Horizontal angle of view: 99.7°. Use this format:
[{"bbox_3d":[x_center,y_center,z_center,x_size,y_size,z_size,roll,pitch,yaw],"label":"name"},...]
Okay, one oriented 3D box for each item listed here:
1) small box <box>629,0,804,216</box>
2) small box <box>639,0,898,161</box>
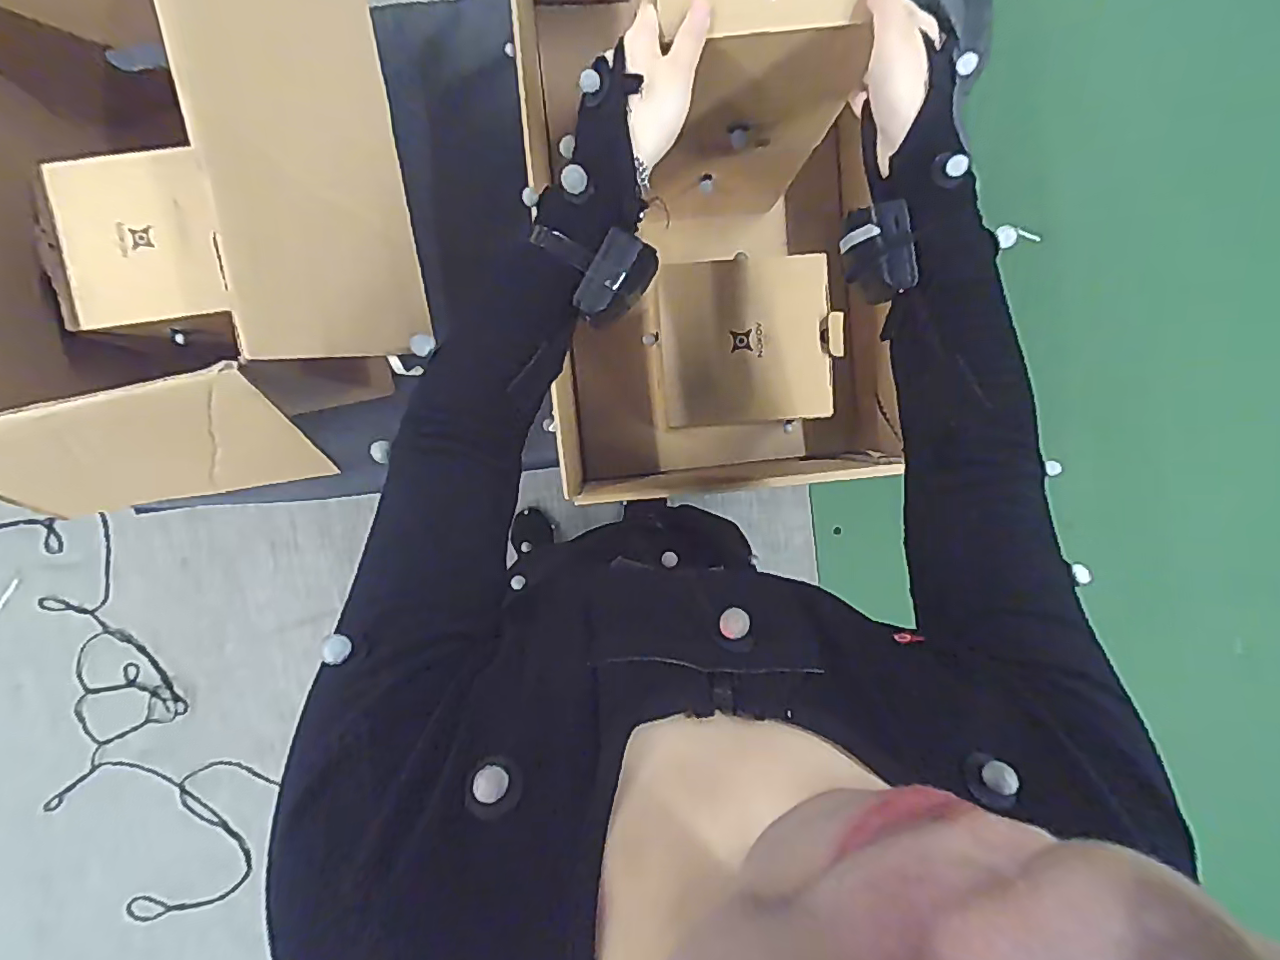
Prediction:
[{"bbox_3d":[0.082,-0.414,0.605,0.179,0.176,0.168,-5,96,0],"label":"small box"},{"bbox_3d":[0.087,-0.395,0.441,0.168,0.176,0.179,-5,96,0],"label":"small box"}]
